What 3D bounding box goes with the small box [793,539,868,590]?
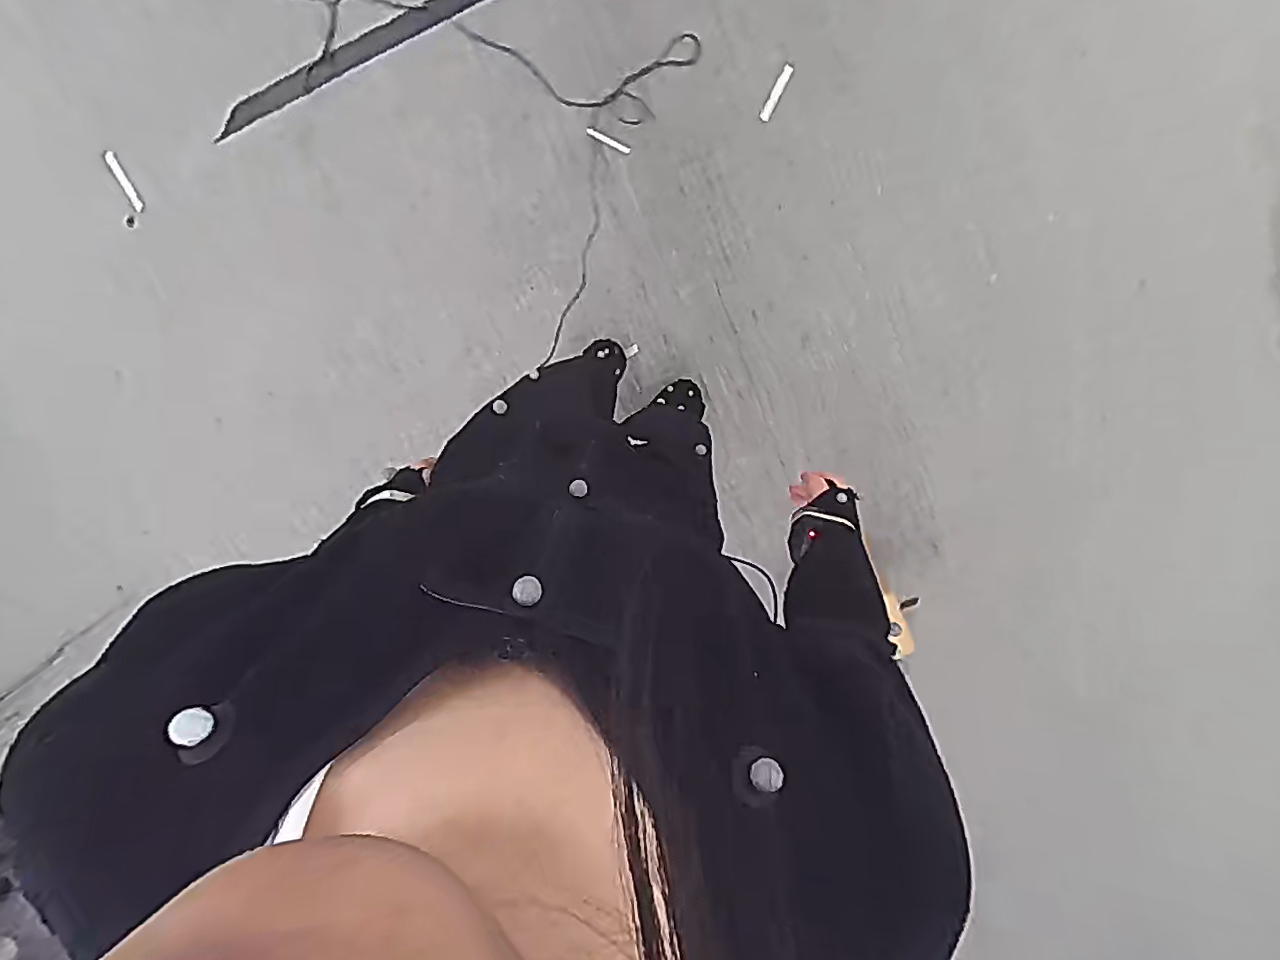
[{"bbox_3d":[0.545,0.284,1.503,0.168,0.176,0.179,-25,105,11],"label":"small box"}]
